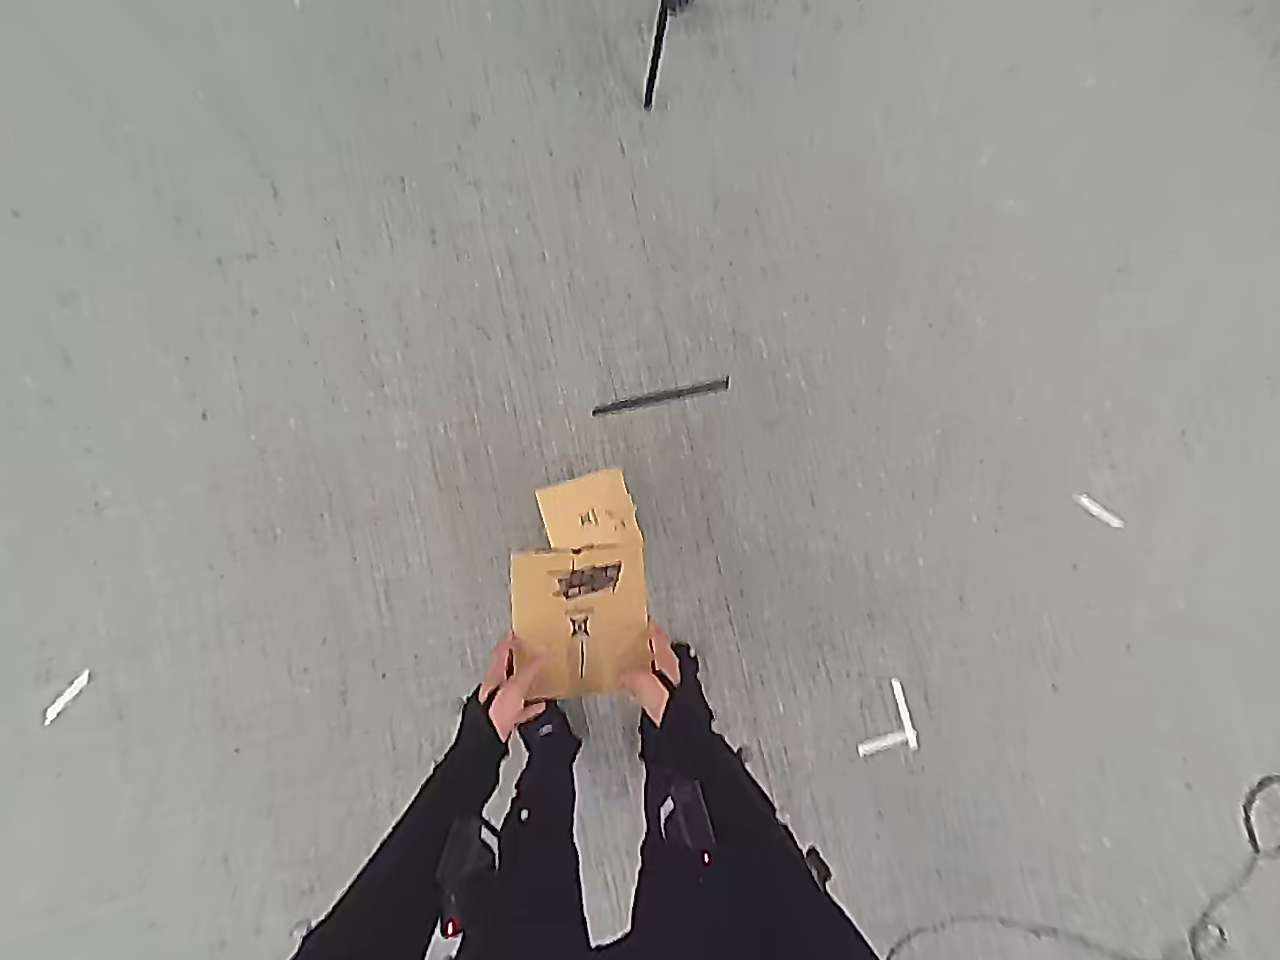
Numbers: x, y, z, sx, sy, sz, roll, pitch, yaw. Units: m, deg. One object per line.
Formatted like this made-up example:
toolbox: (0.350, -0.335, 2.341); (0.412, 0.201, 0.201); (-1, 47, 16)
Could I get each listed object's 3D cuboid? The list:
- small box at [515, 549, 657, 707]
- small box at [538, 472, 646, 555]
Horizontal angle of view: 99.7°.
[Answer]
small box: (-0.070, 0.193, 0.725); (0.168, 0.176, 0.179); (-4, 78, -3)
small box: (-0.097, 0.093, 1.123); (0.179, 0.176, 0.168); (-17, 85, -6)
